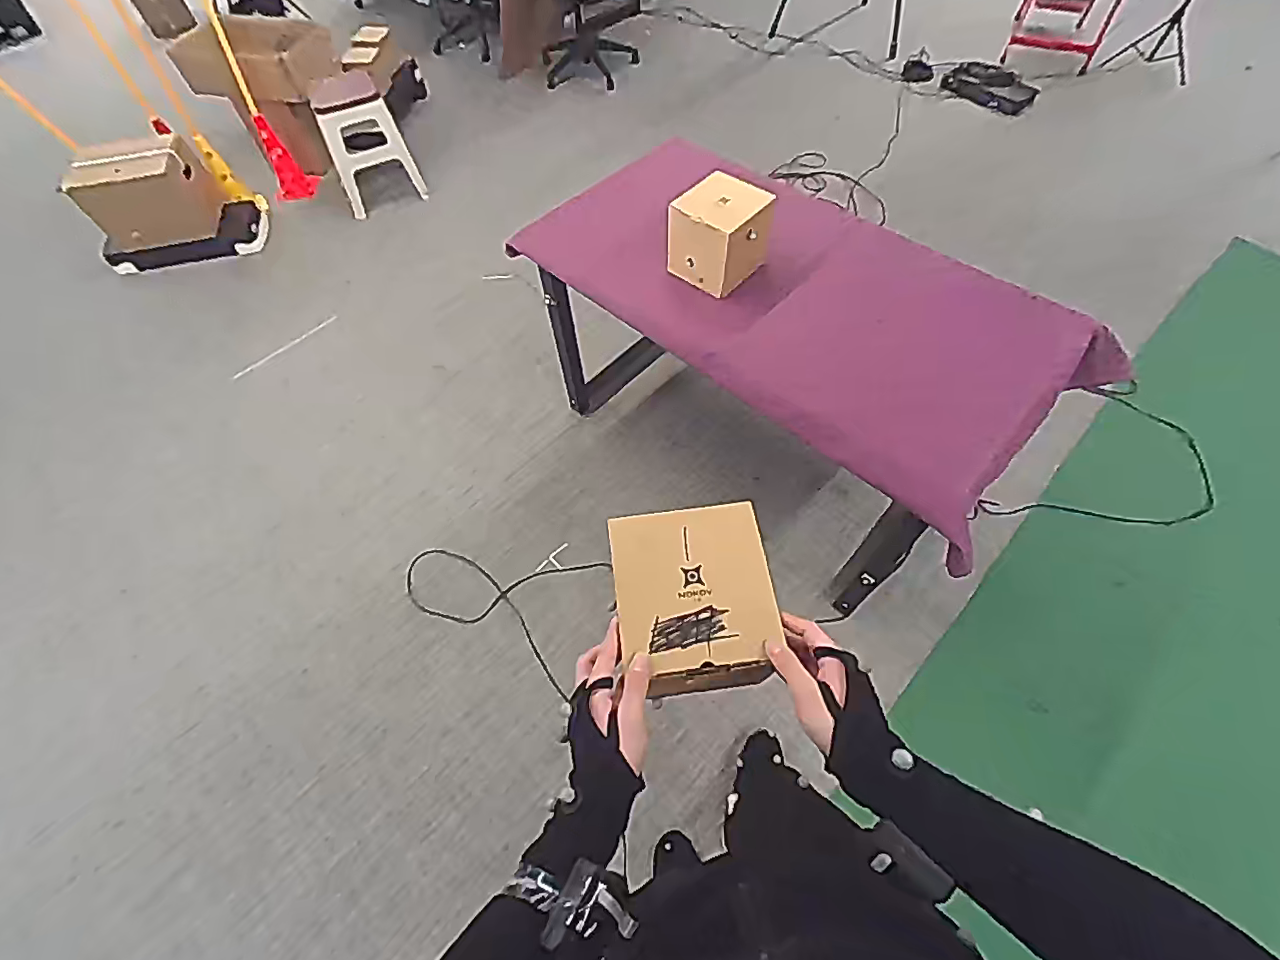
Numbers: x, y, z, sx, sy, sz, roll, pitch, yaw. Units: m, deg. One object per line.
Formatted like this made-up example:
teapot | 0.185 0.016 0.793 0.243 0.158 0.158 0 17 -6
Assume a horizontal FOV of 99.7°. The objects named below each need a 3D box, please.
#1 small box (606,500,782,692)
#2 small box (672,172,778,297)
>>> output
small box | 0.054 0.145 0.636 0.168 0.176 0.179 -7 61 -2
small box | 0.185 -0.557 1.236 0.168 0.176 0.179 37 68 21
